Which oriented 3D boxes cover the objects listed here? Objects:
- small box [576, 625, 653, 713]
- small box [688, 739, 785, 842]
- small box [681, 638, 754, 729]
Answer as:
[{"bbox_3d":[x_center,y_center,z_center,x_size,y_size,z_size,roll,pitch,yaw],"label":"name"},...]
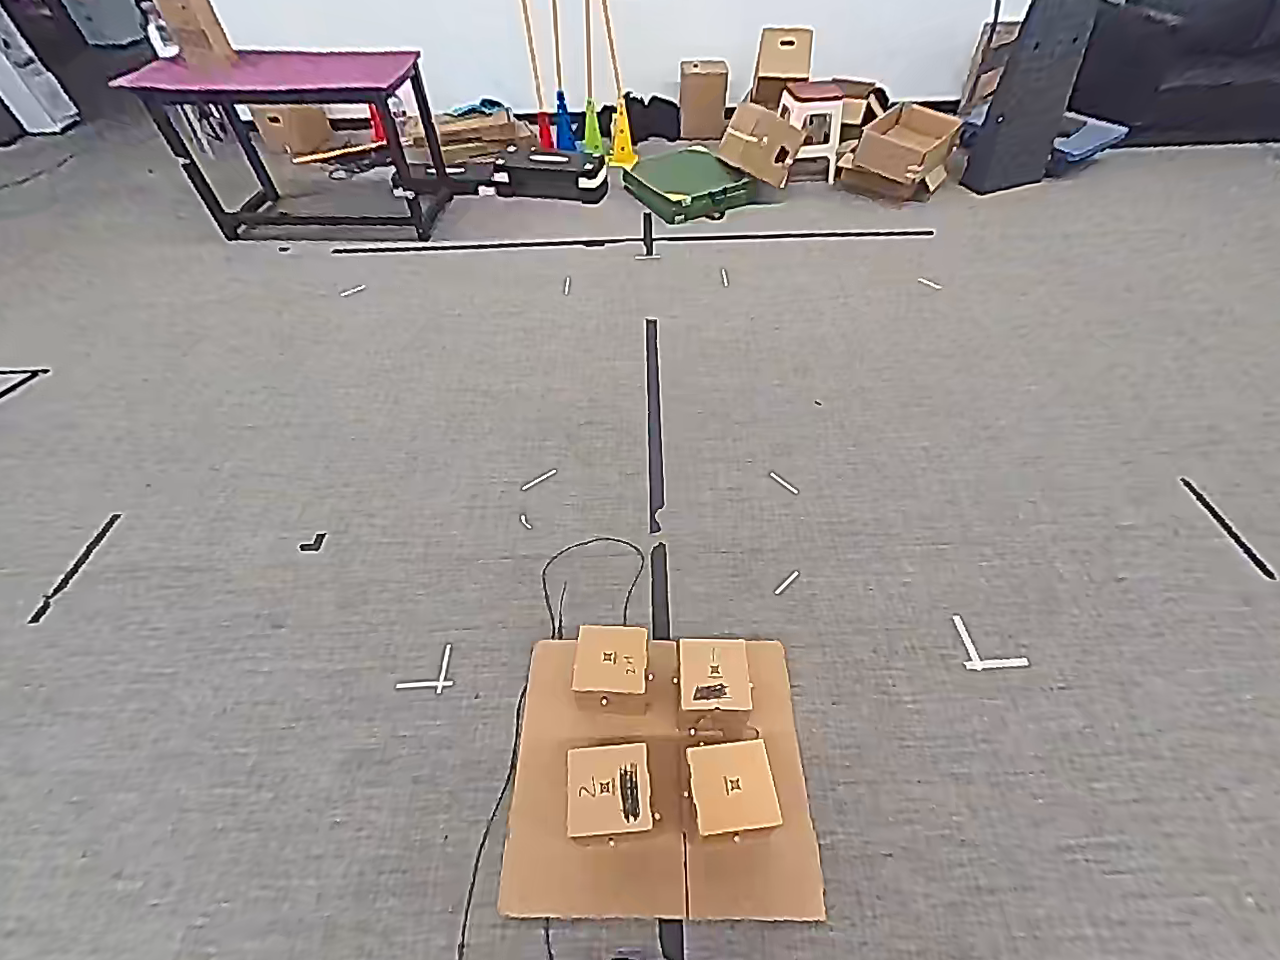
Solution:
[{"bbox_3d":[-0.060,0.487,1.387,0.179,0.176,0.168,2,50,3],"label":"small box"},{"bbox_3d":[0.207,0.696,1.210,0.179,0.176,0.168,-6,50,-2],"label":"small box"},{"bbox_3d":[0.190,0.515,1.361,0.168,0.176,0.179,0,49,3],"label":"small box"}]
